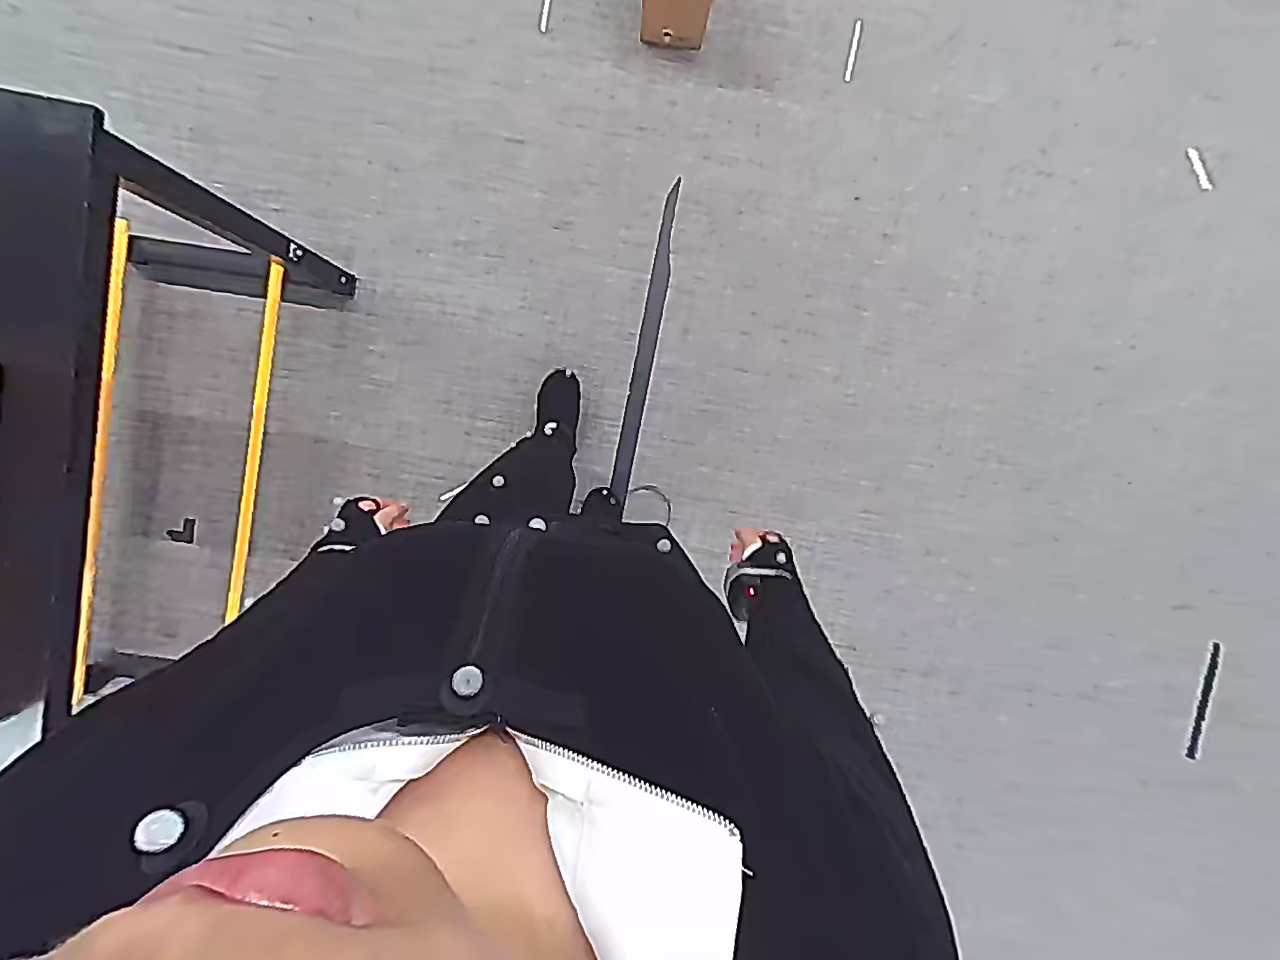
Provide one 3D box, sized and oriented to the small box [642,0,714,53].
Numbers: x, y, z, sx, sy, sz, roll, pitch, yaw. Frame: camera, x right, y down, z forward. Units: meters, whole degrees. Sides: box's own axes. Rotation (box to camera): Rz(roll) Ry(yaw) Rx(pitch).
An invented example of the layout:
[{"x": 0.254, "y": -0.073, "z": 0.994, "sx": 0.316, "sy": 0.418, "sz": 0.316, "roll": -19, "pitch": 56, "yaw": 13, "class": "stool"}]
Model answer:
[{"x": 0.094, "y": -1.193, "z": 1.311, "sx": 0.168, "sy": 0.176, "sz": 0.179, "roll": 4, "pitch": 96, "yaw": -2, "class": "small box"}]
